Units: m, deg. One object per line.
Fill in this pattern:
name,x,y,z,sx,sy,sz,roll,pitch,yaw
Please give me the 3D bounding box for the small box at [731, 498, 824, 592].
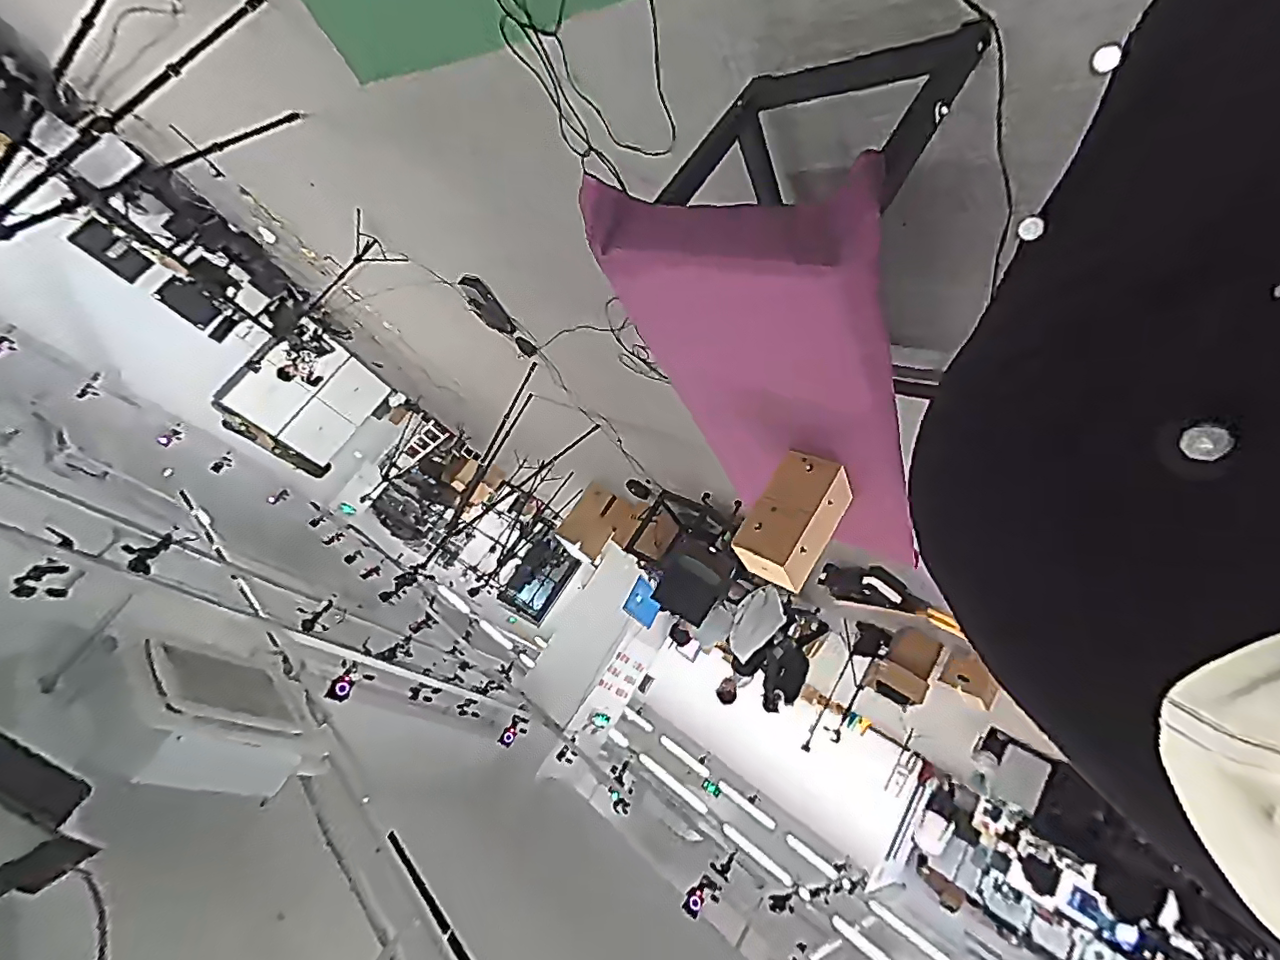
small box,0.381,0.173,1.477,0.168,0.176,0.179,23,161,40
